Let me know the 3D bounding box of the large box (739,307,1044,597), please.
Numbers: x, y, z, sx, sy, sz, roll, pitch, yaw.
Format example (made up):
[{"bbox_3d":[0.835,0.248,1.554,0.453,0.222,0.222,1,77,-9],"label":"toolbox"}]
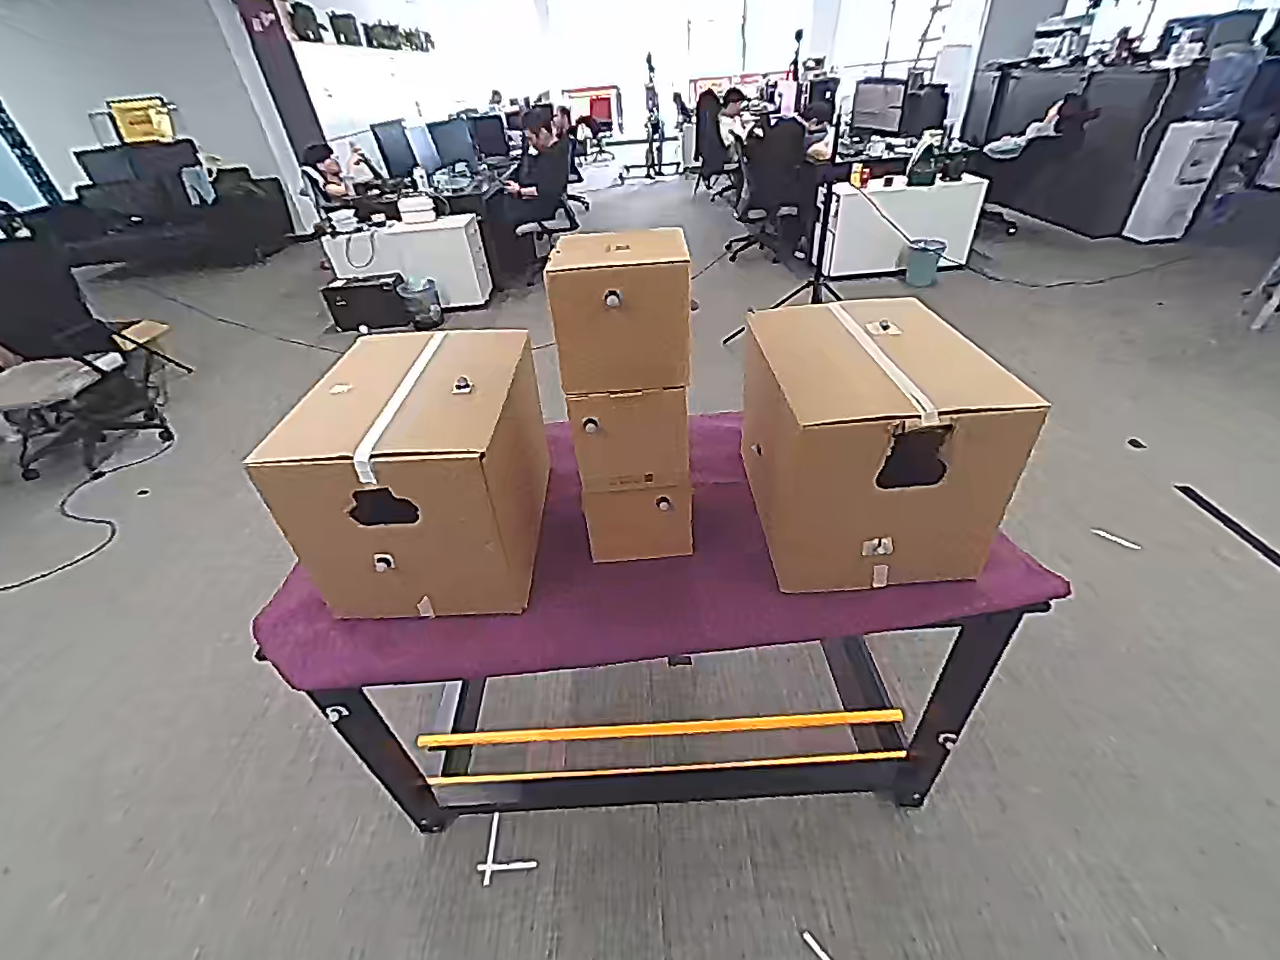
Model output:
[{"bbox_3d":[0.356,-0.063,0.914,0.320,0.320,0.408,-4,36,1],"label":"large box"}]

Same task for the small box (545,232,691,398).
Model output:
[{"bbox_3d":[-0.021,-0.228,0.749,0.179,0.176,0.168,-4,37,3],"label":"small box"}]
